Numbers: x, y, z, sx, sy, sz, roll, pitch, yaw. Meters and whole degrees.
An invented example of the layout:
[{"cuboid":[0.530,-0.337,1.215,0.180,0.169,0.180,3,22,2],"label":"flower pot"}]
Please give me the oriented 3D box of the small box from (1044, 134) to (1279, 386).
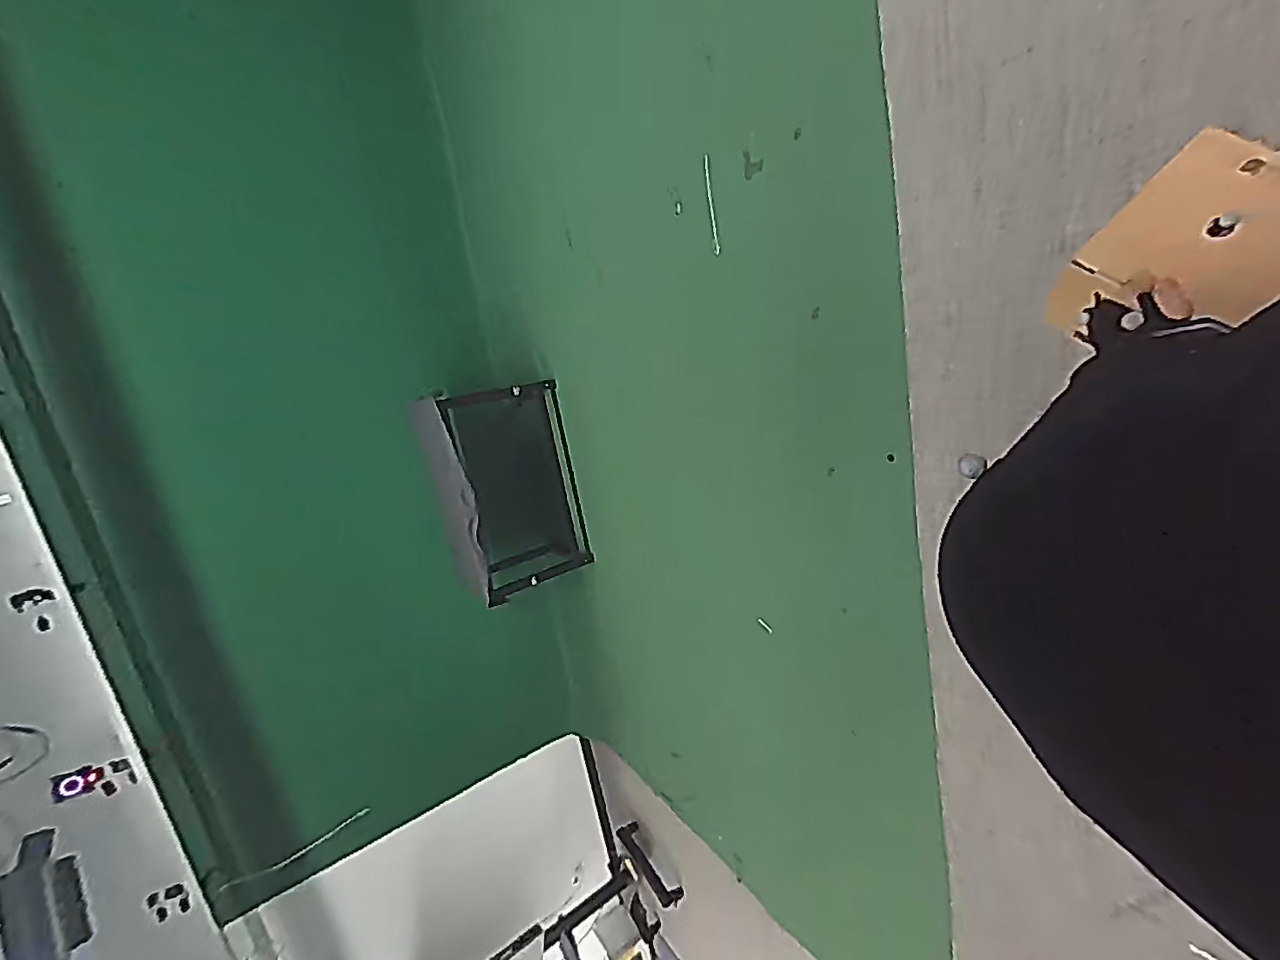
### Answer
[{"cuboid":[0.613,-0.241,0.610,0.176,0.179,0.168,-50,63,12],"label":"small box"}]
